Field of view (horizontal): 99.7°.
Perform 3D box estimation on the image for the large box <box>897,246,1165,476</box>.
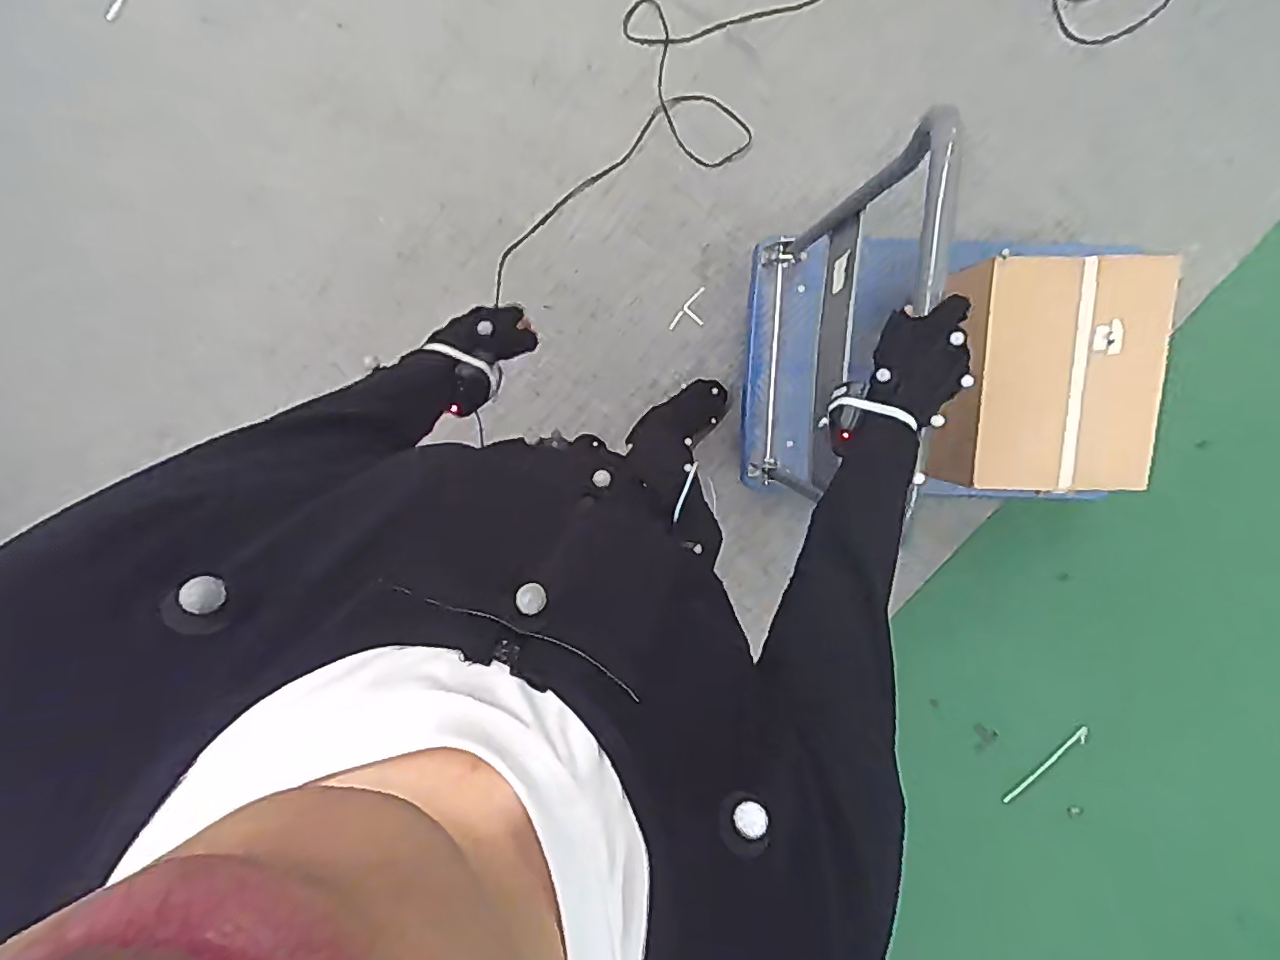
[{"bbox_3d":[0.752,-0.225,1.102,0.320,0.320,0.408,1,99,0],"label":"large box"}]
